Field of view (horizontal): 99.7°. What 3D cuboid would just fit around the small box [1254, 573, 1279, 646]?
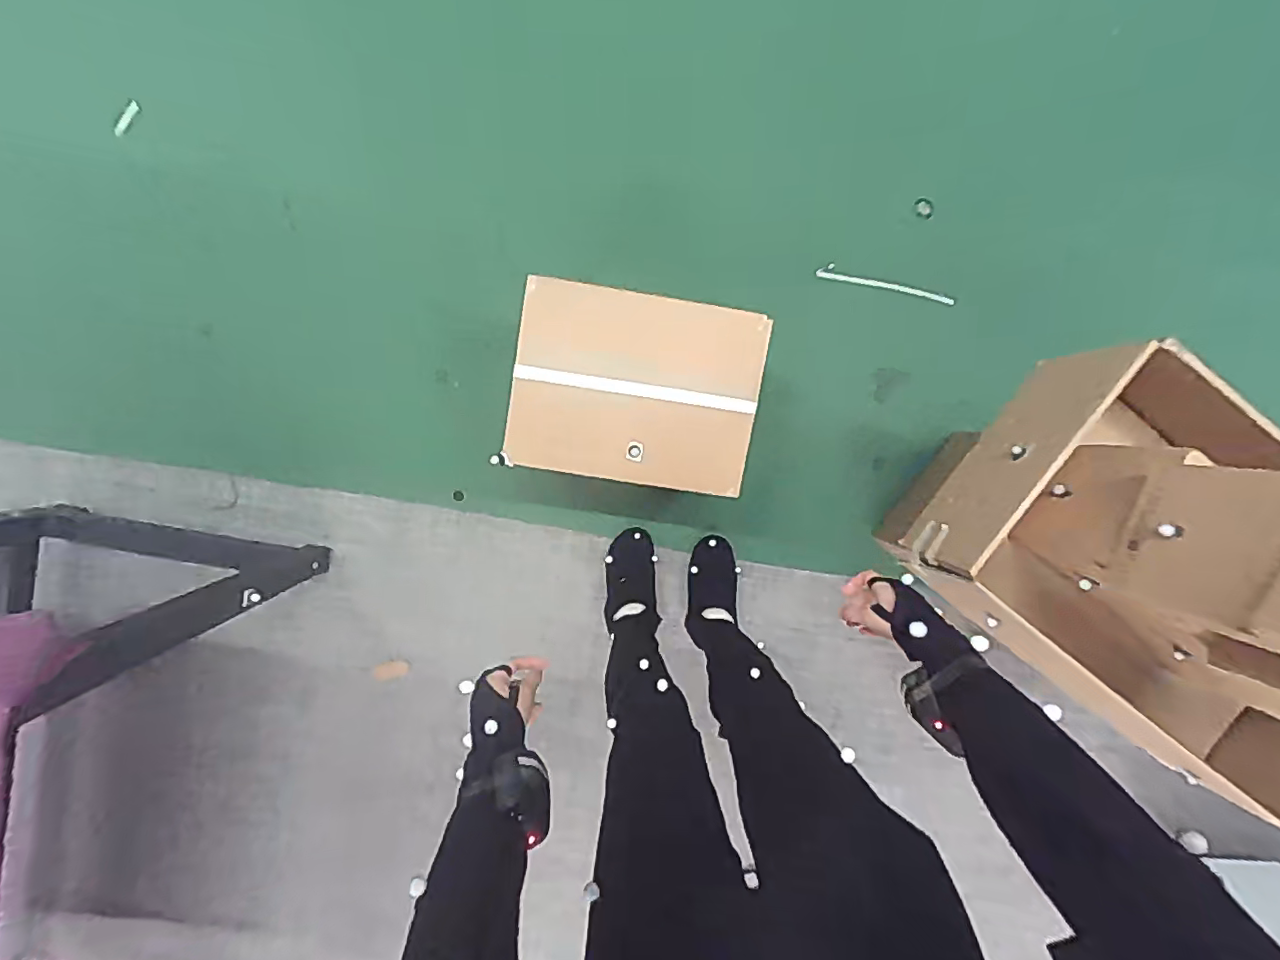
[{"bbox_3d":[0.668,0.112,0.413,0.179,0.176,0.168,30,92,-4],"label":"small box"}]
